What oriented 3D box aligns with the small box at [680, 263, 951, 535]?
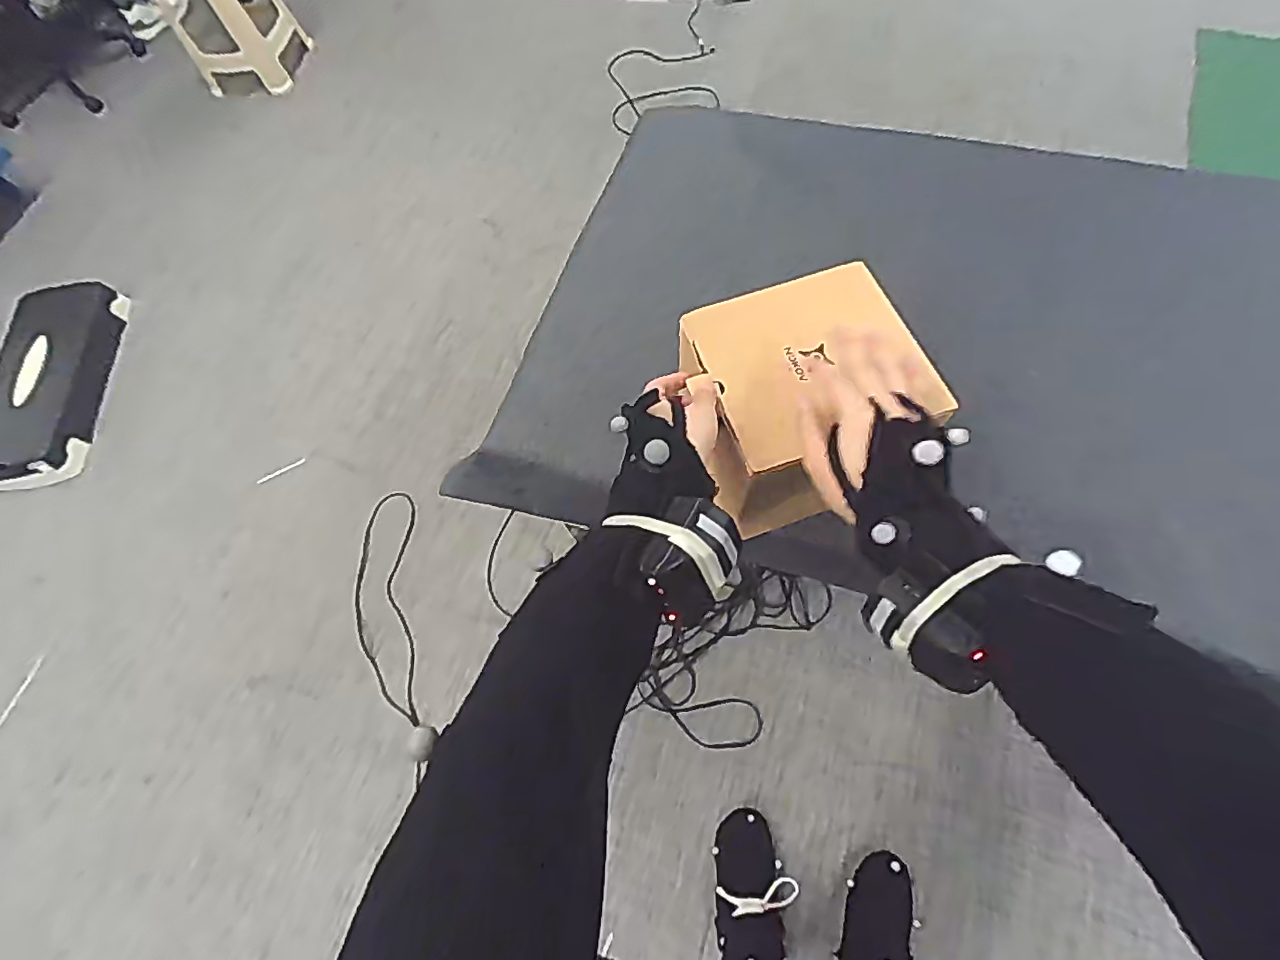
[{"bbox_3d":[0.142,-0.066,0.517,0.179,0.176,0.168,-18,66,-3],"label":"small box"}]
